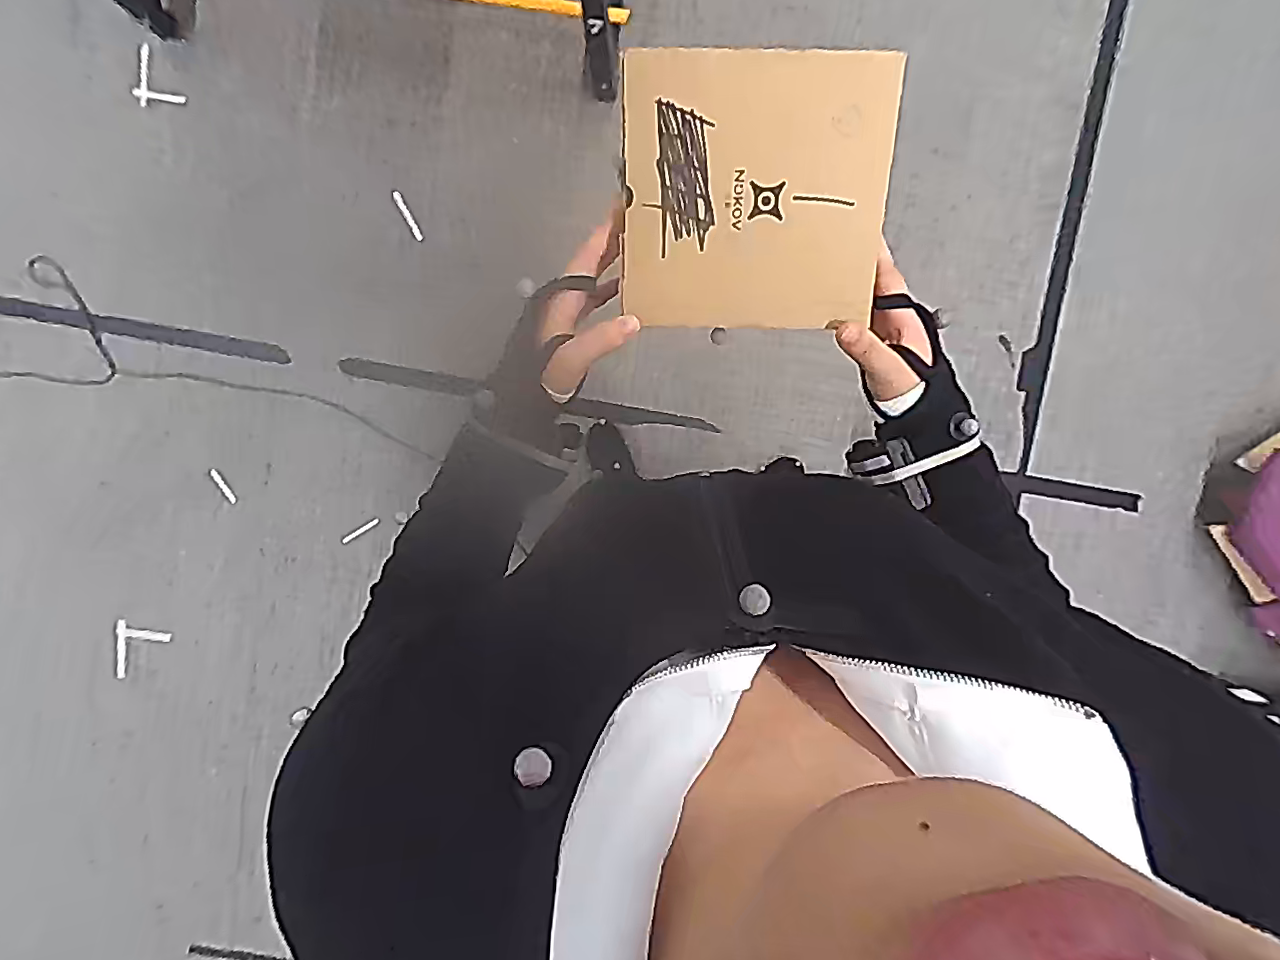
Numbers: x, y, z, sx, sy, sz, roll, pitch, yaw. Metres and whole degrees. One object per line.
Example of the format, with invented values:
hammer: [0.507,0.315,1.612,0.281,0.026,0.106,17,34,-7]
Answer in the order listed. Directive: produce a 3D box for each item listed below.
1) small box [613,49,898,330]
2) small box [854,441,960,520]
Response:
small box: [0.071,-0.208,0.430,0.179,0.176,0.168,0,108,0]
small box: [0.678,-0.005,1.397,0.179,0.176,0.168,11,96,1]
